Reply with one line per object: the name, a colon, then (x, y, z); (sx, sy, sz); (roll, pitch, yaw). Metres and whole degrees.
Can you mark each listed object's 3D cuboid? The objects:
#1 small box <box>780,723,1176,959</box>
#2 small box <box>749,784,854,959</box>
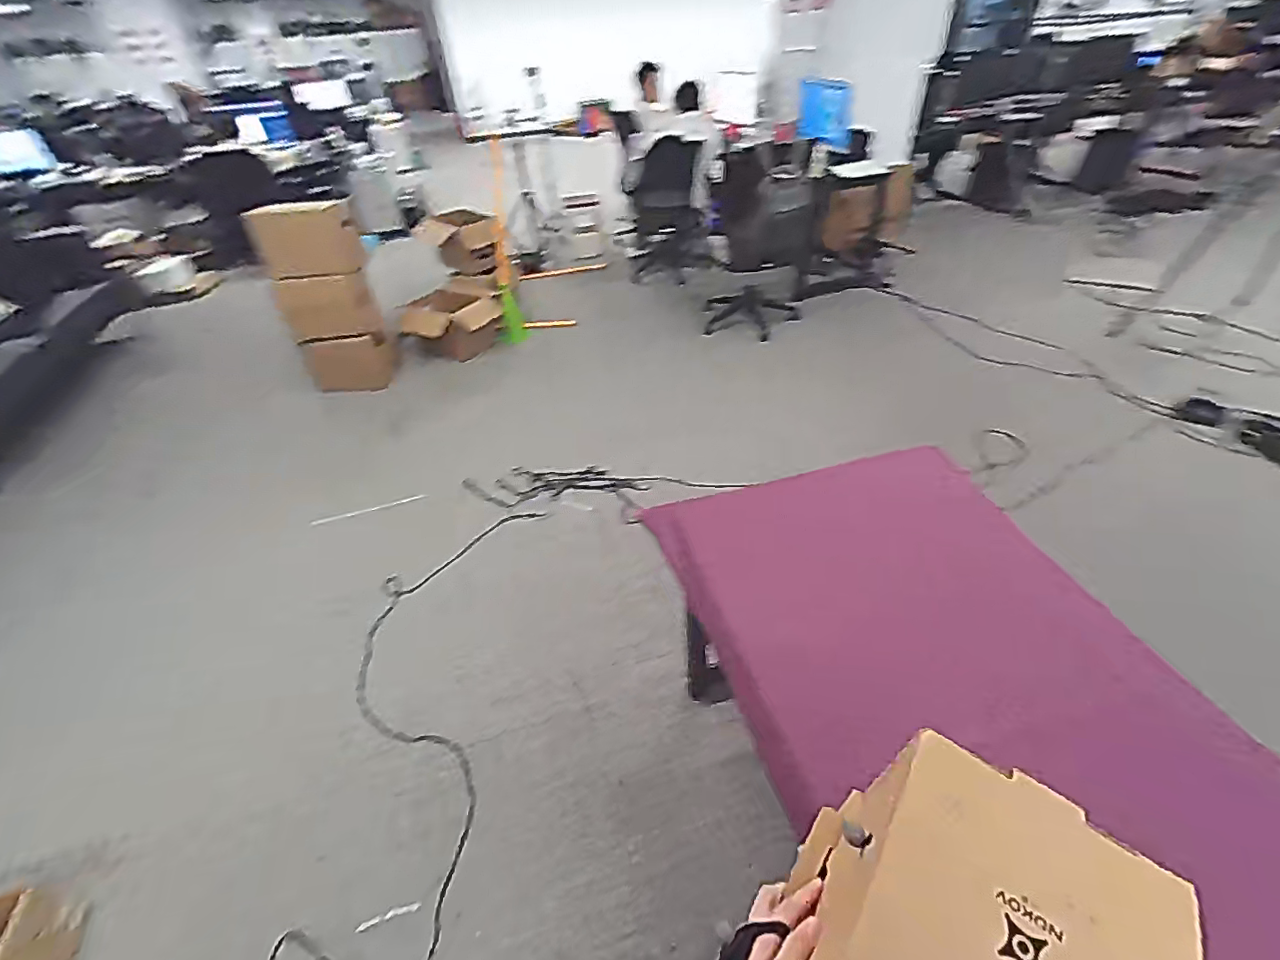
small box: (0.211, 0.316, 0.371); (0.168, 0.176, 0.179); (26, 48, 25)
small box: (0.215, 0.430, 0.491); (0.179, 0.176, 0.168); (28, 49, 27)
